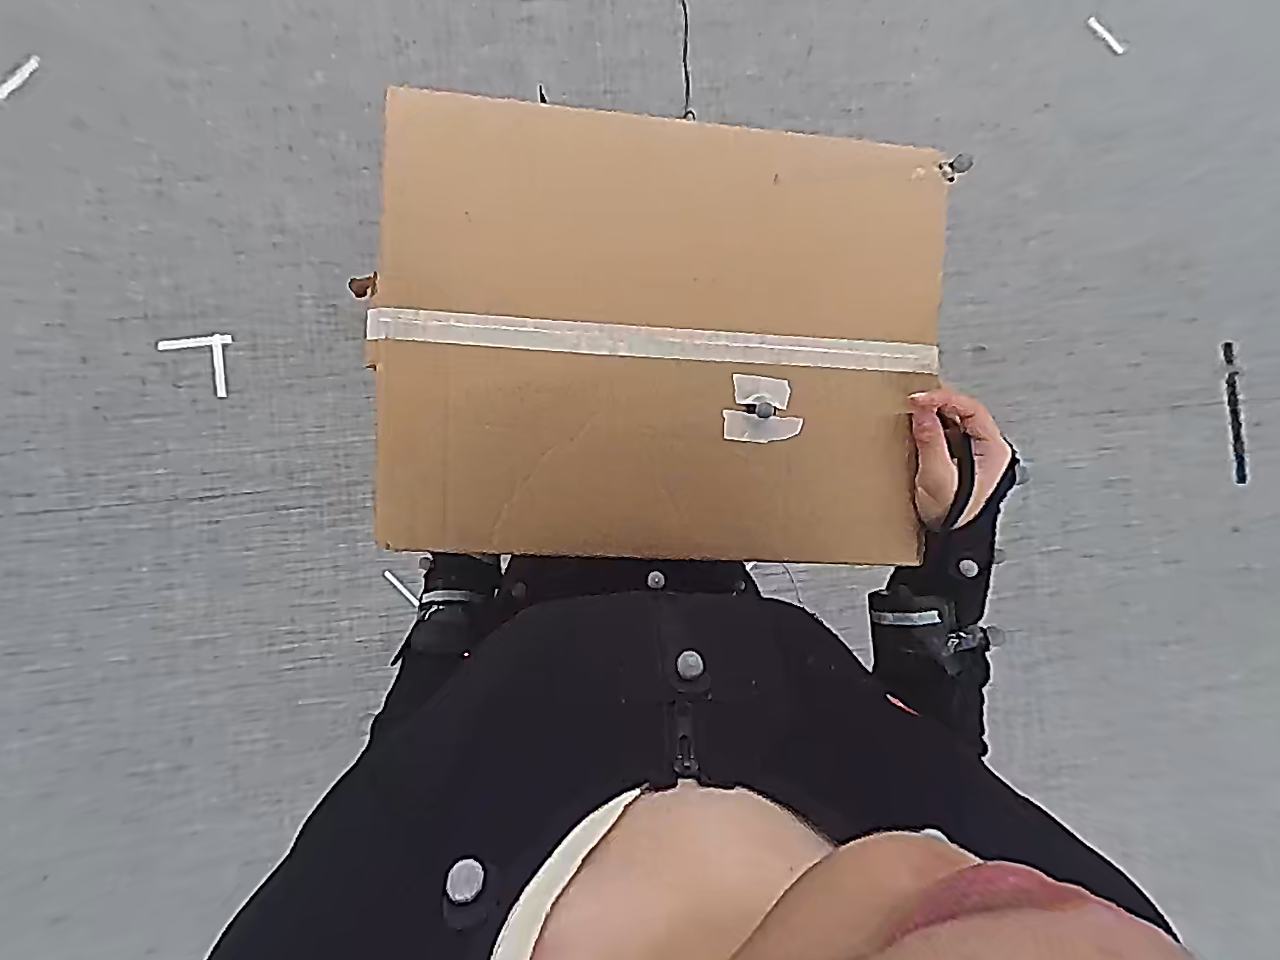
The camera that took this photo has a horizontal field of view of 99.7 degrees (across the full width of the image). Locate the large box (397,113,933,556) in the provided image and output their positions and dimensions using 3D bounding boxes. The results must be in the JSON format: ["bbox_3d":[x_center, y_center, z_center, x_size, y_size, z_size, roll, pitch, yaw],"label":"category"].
[{"bbox_3d":[0.008,-0.103,0.547,0.408,0.320,0.320,2,93,-7],"label":"large box"}]
